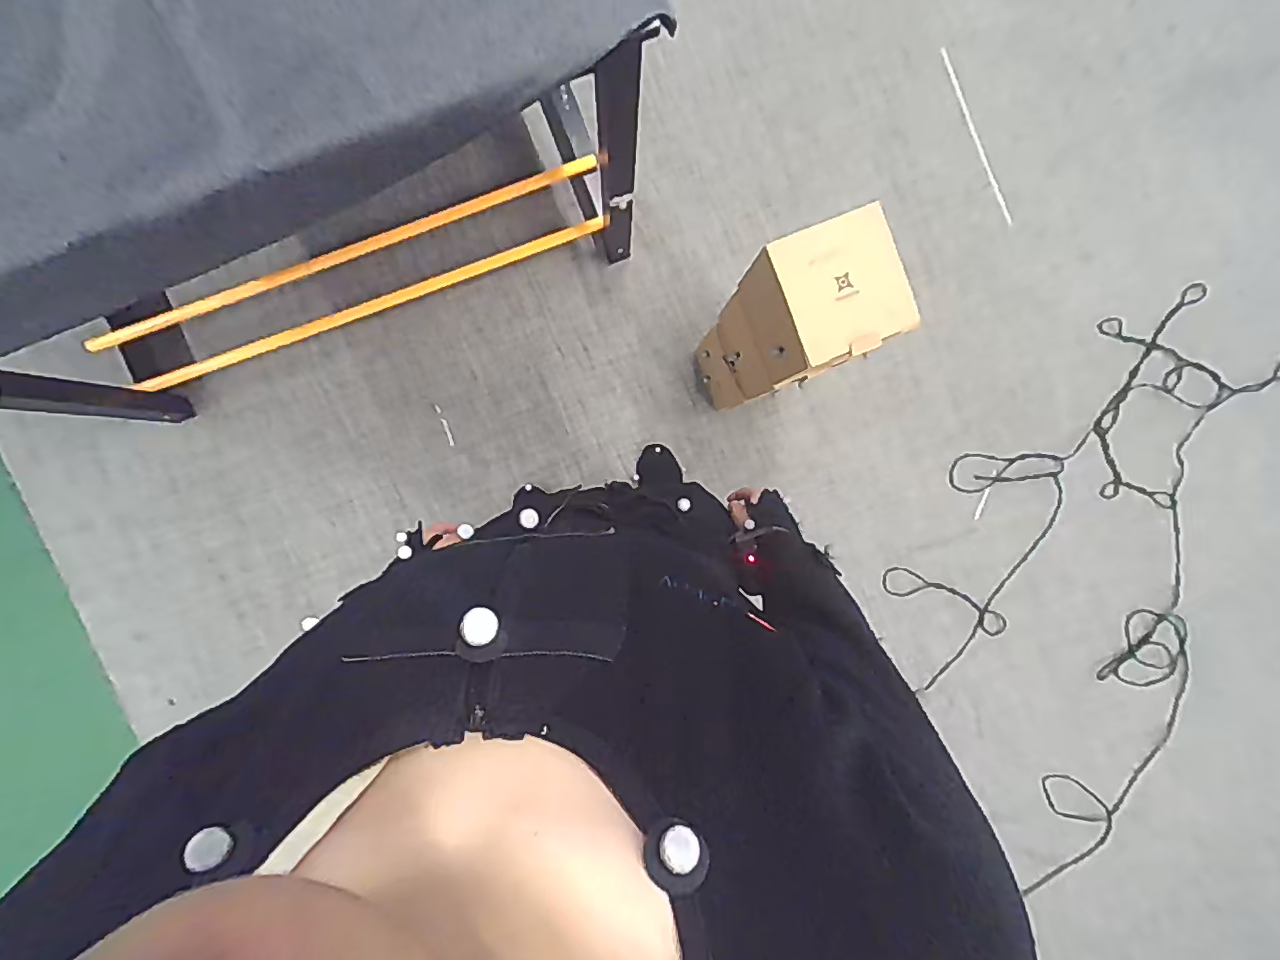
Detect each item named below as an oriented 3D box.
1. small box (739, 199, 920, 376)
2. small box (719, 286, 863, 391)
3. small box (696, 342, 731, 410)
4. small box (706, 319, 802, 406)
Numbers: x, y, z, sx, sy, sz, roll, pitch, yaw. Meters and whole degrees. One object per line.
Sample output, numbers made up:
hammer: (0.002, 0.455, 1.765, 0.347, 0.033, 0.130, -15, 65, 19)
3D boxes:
small box: (0.264, -0.264, 0.793, 0.168, 0.176, 0.179, -23, 92, -2)
small box: (0.257, -0.265, 0.954, 0.168, 0.176, 0.179, -22, 94, -3)
small box: (0.250, -0.277, 1.282, 0.179, 0.176, 0.168, -21, 92, -3)
small box: (0.248, -0.263, 1.119, 0.179, 0.176, 0.168, -23, 93, -3)
